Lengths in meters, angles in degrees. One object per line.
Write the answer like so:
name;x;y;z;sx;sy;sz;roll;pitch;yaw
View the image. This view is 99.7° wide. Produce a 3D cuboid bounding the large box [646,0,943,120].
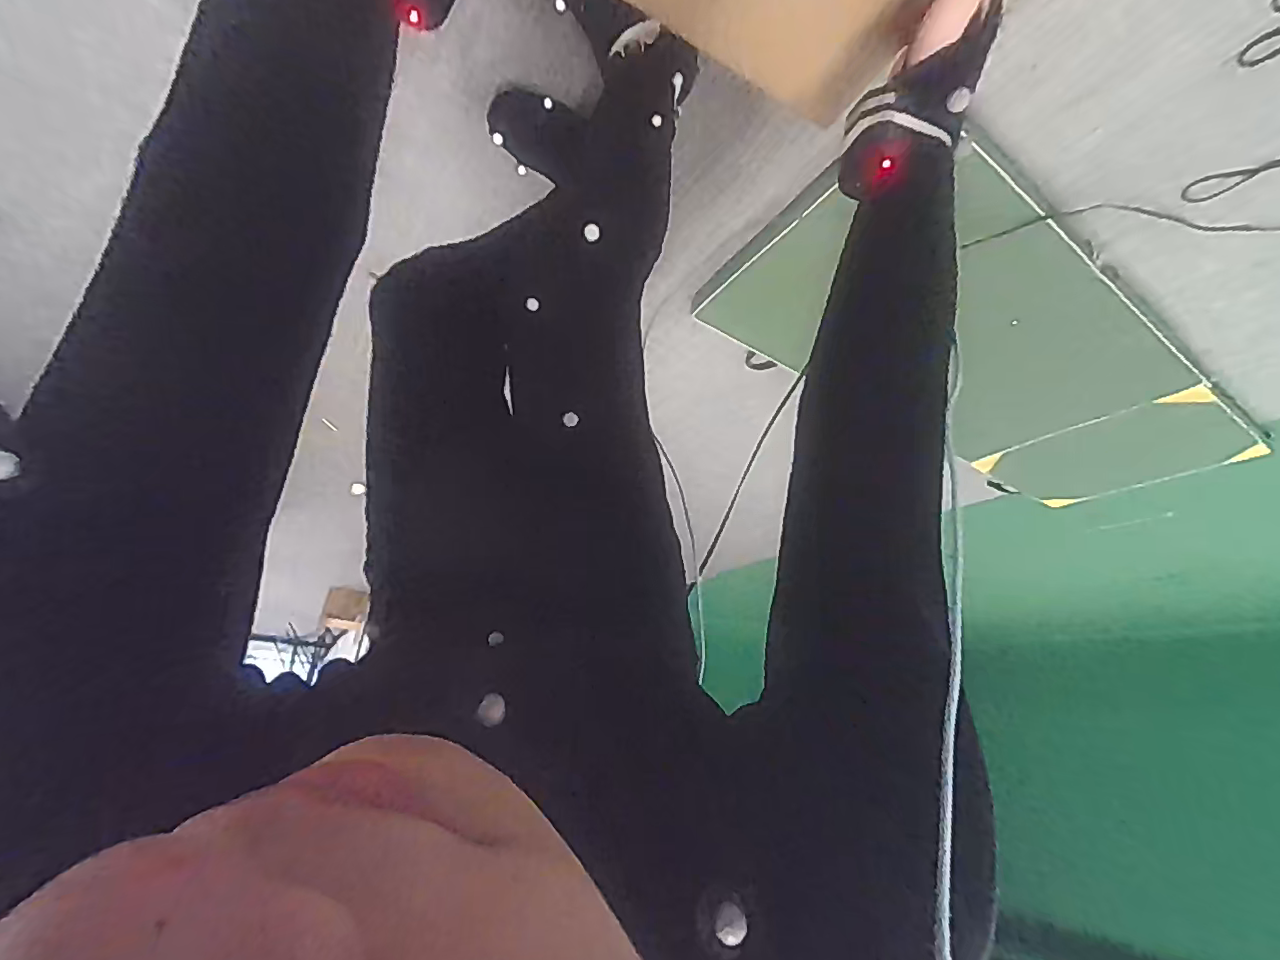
large box;0.112;-0.613;0.432;0.408;0.320;0.320;15;157;-24
